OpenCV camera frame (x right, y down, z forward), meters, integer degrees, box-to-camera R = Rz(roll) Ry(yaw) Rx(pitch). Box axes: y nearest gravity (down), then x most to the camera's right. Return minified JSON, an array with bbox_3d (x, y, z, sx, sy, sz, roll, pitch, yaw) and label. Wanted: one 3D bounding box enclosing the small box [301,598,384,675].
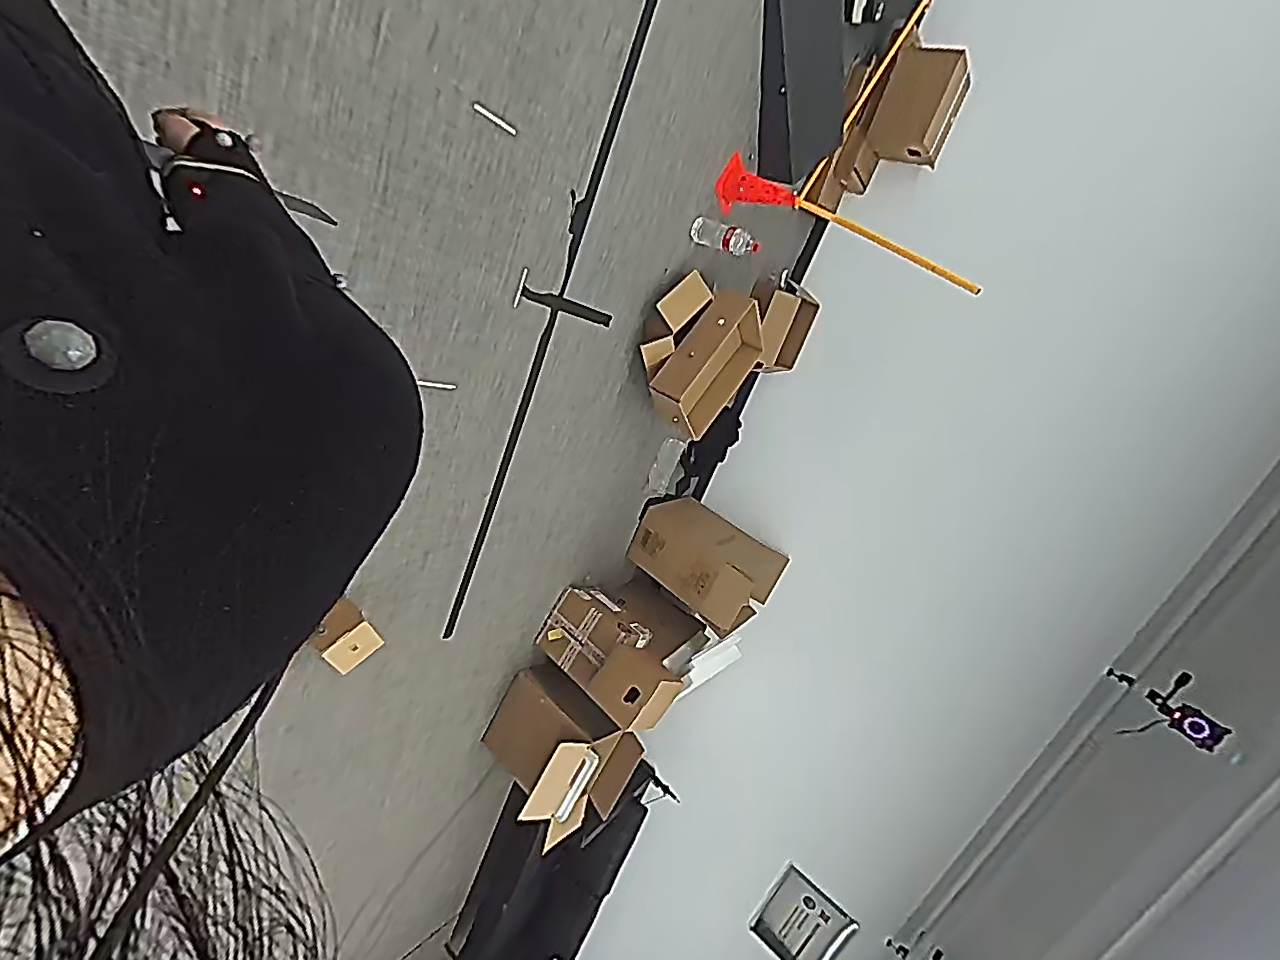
[{"bbox_3d":[-1.049,0.543,1.902,0.168,0.176,0.179,-40,149,-28],"label":"small box"}]
